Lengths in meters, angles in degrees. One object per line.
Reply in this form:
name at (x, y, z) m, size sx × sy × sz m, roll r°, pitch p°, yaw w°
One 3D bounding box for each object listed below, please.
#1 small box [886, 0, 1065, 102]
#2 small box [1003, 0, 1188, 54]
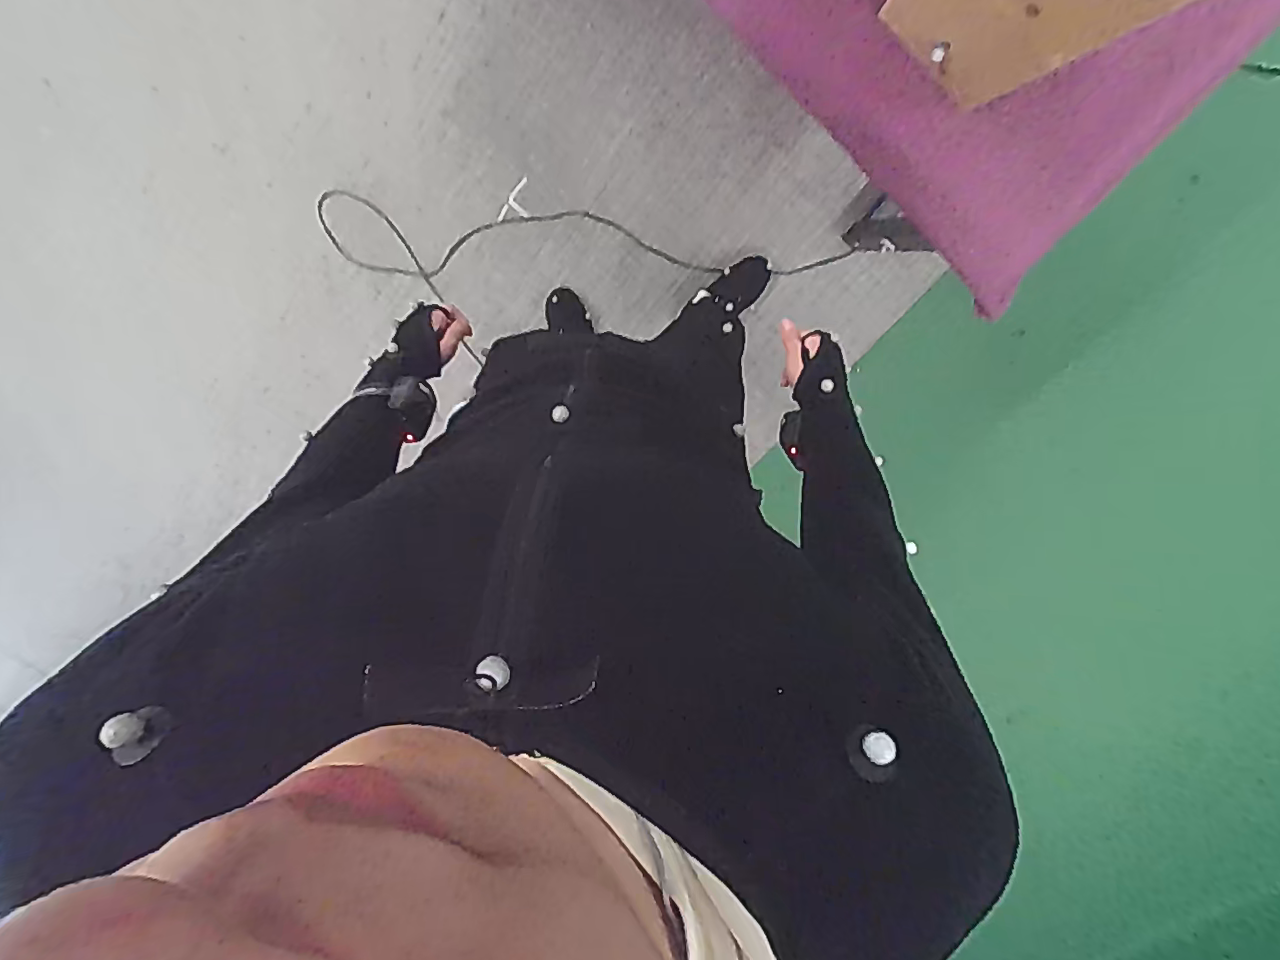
small box at (0.401, -0.551, 0.567) m, size 0.168 × 0.176 × 0.179 m, roll 36°, pitch 109°, yaw -13°
small box at (0.400, -0.491, 0.416) m, size 0.168 × 0.176 × 0.179 m, roll 36°, pitch 109°, yaw -13°
